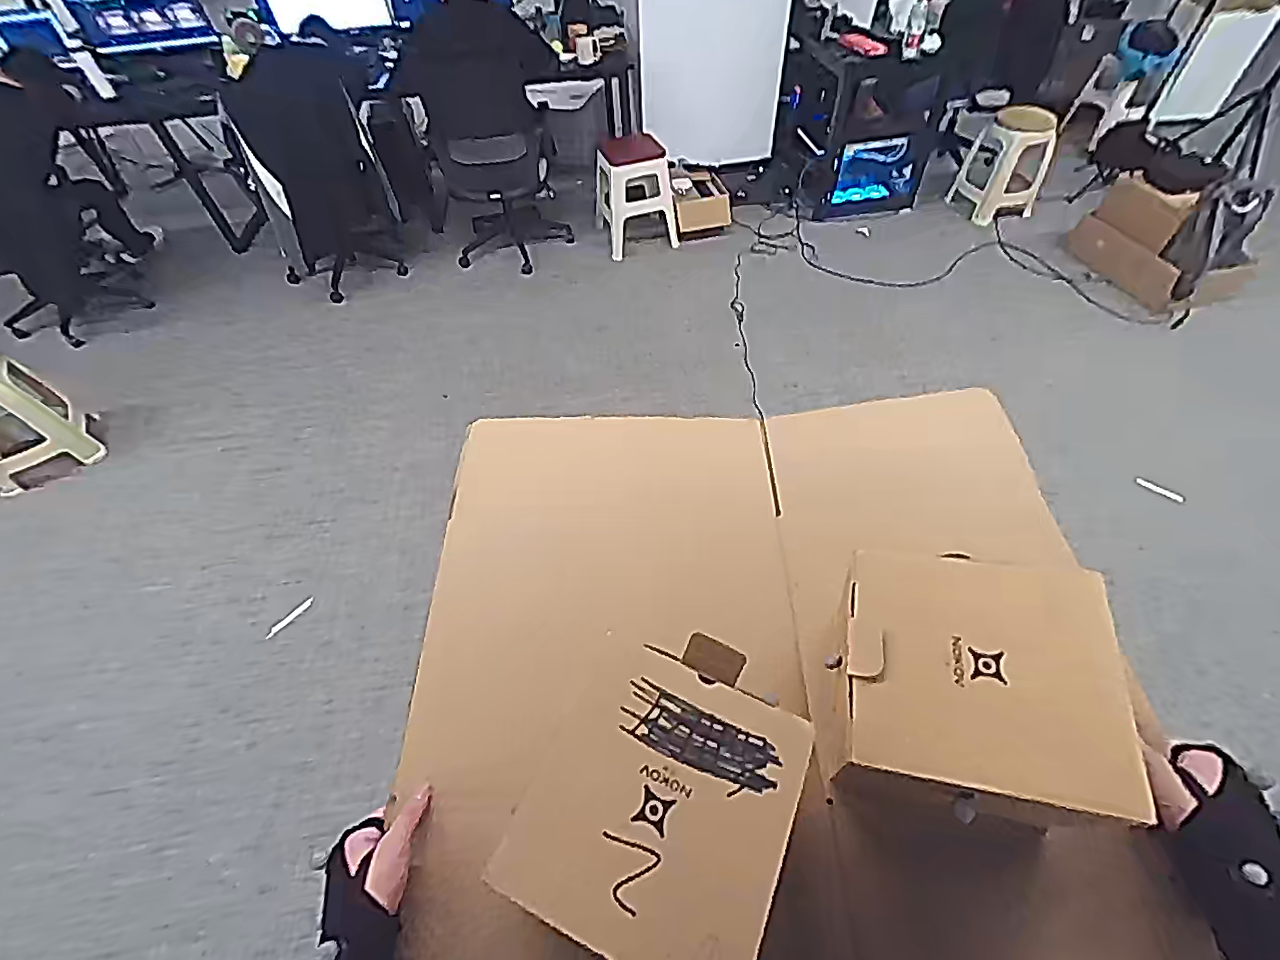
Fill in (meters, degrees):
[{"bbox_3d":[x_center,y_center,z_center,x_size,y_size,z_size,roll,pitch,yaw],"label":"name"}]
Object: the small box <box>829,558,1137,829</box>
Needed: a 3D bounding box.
[{"bbox_3d":[0.264,0.183,0.466,0.179,0.176,0.168,3,59,18],"label":"small box"}]
